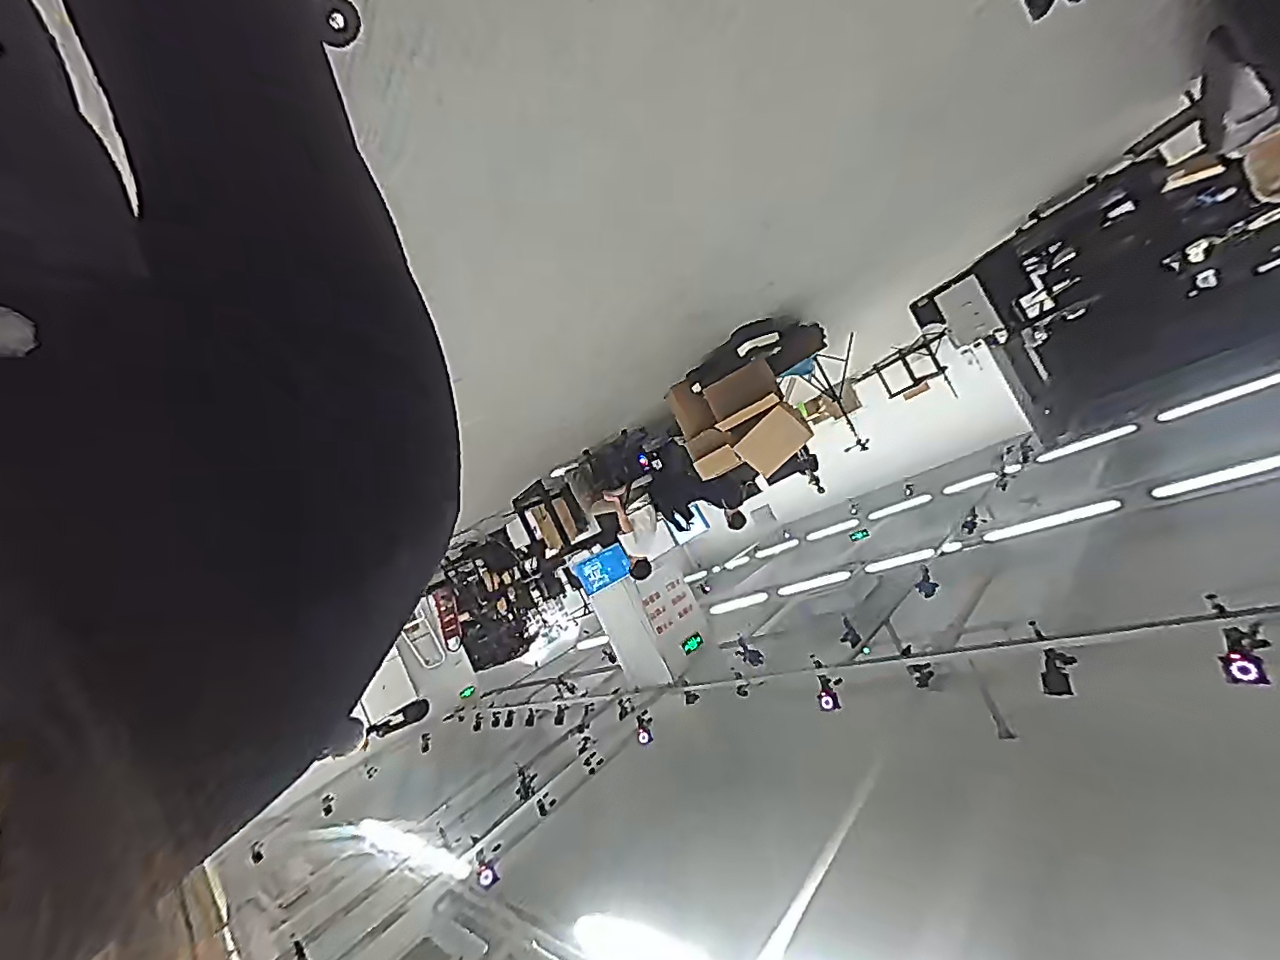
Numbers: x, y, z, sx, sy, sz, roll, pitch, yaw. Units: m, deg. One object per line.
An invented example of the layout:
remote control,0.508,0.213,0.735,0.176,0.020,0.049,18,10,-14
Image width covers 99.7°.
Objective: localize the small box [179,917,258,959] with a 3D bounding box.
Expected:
small box,-1.391,1.593,1.769,0.168,0.176,0.179,-24,172,-32
